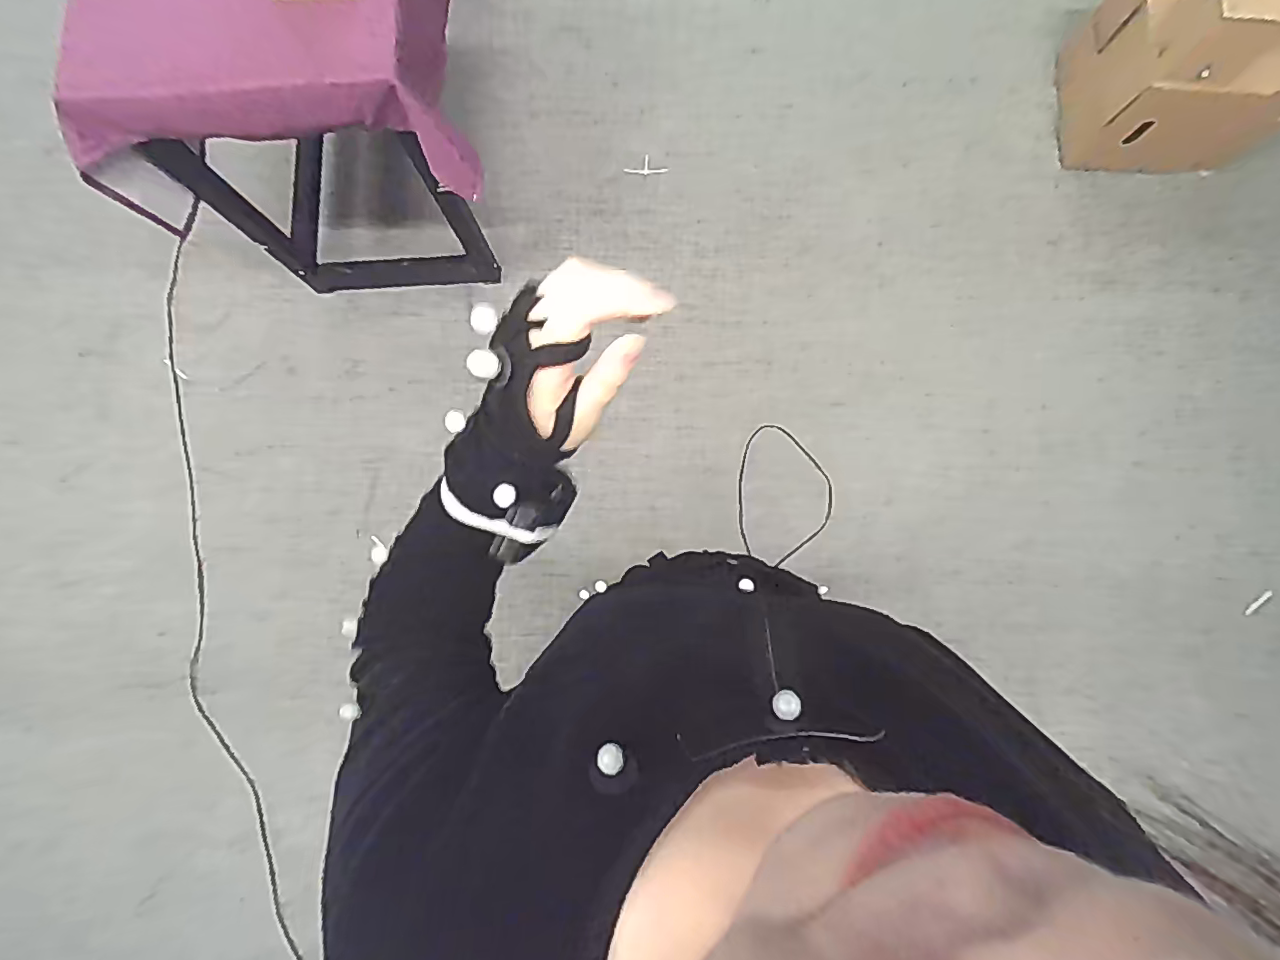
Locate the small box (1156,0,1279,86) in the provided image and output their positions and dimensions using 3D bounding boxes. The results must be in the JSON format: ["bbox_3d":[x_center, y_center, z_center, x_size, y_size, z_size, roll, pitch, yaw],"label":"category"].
[{"bbox_3d":[1.401,-1.088,1.293,0.179,0.176,0.168,7,82,1],"label":"small box"}]
